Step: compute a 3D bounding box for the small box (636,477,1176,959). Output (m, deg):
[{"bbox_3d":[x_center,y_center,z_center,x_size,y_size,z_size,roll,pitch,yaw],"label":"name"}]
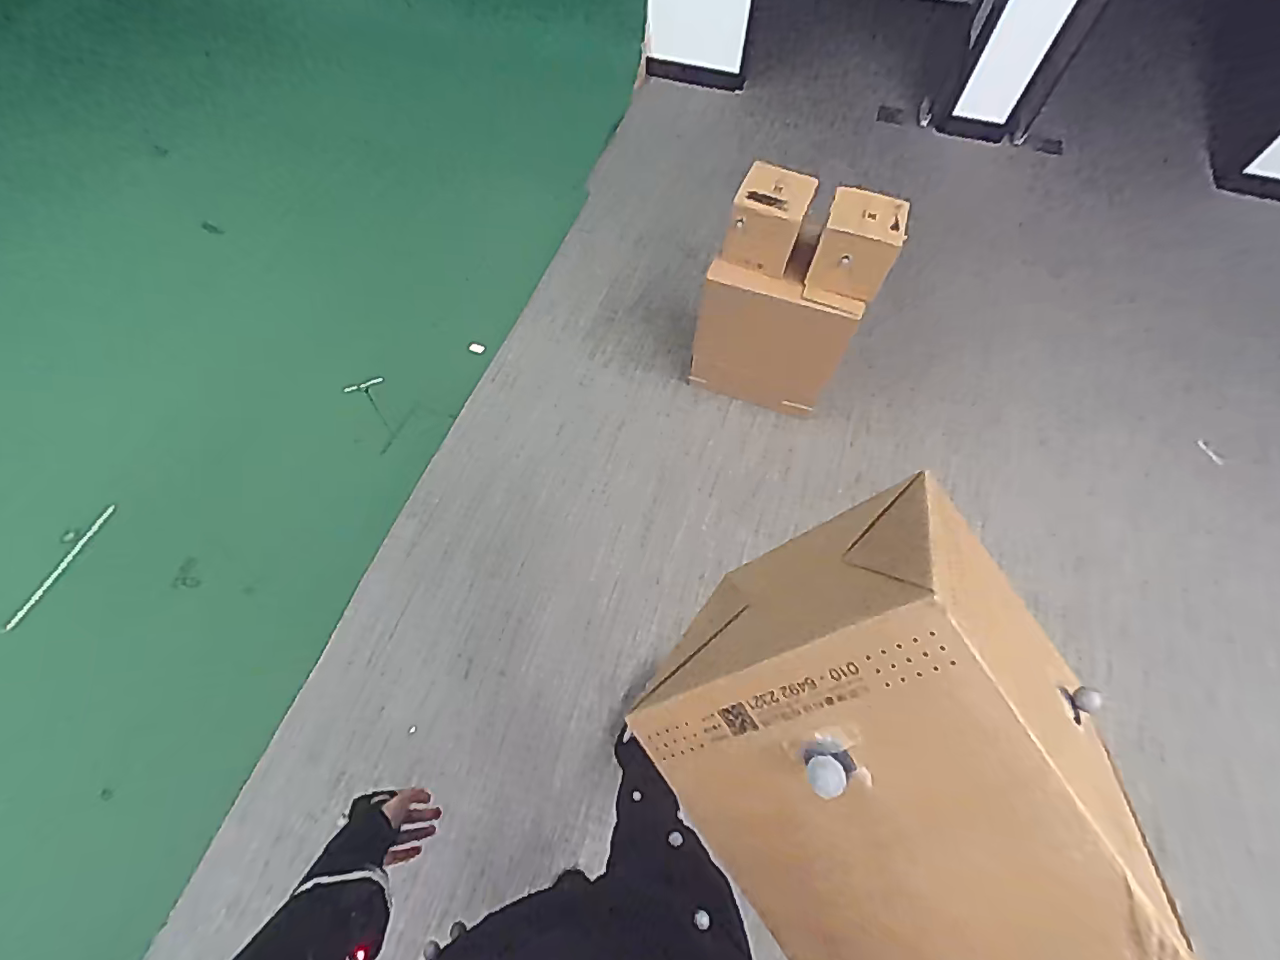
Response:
[{"bbox_3d":[0.131,0.118,0.311,0.176,0.168,0.179,56,31,2],"label":"small box"}]
